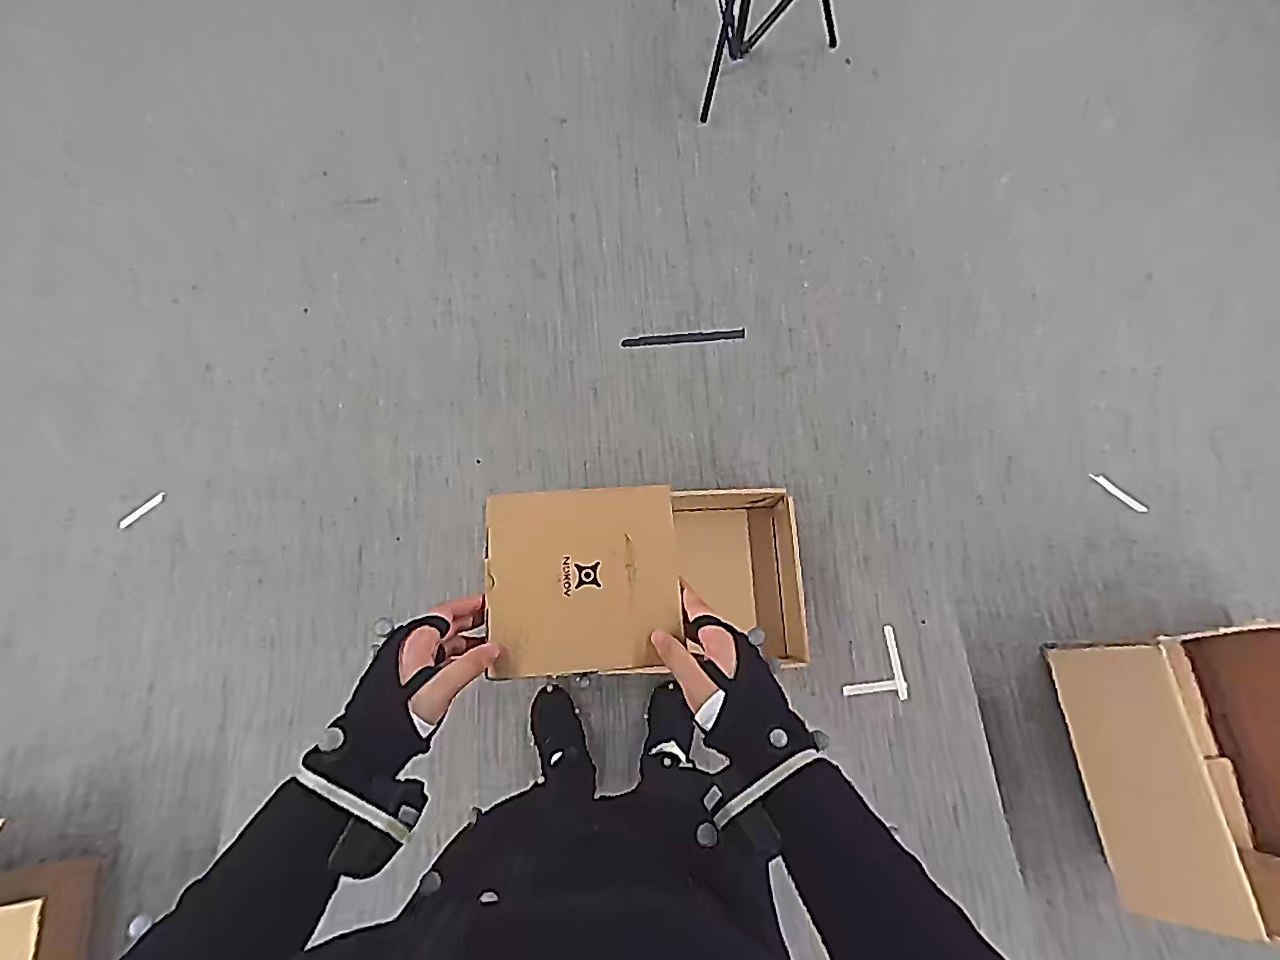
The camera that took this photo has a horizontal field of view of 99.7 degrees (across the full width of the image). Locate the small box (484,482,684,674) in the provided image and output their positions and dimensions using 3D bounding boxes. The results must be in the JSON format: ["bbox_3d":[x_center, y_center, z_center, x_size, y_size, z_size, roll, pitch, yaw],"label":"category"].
[{"bbox_3d":[-0.059,0.110,0.568,0.179,0.176,0.168,-4,72,-7],"label":"small box"}]
